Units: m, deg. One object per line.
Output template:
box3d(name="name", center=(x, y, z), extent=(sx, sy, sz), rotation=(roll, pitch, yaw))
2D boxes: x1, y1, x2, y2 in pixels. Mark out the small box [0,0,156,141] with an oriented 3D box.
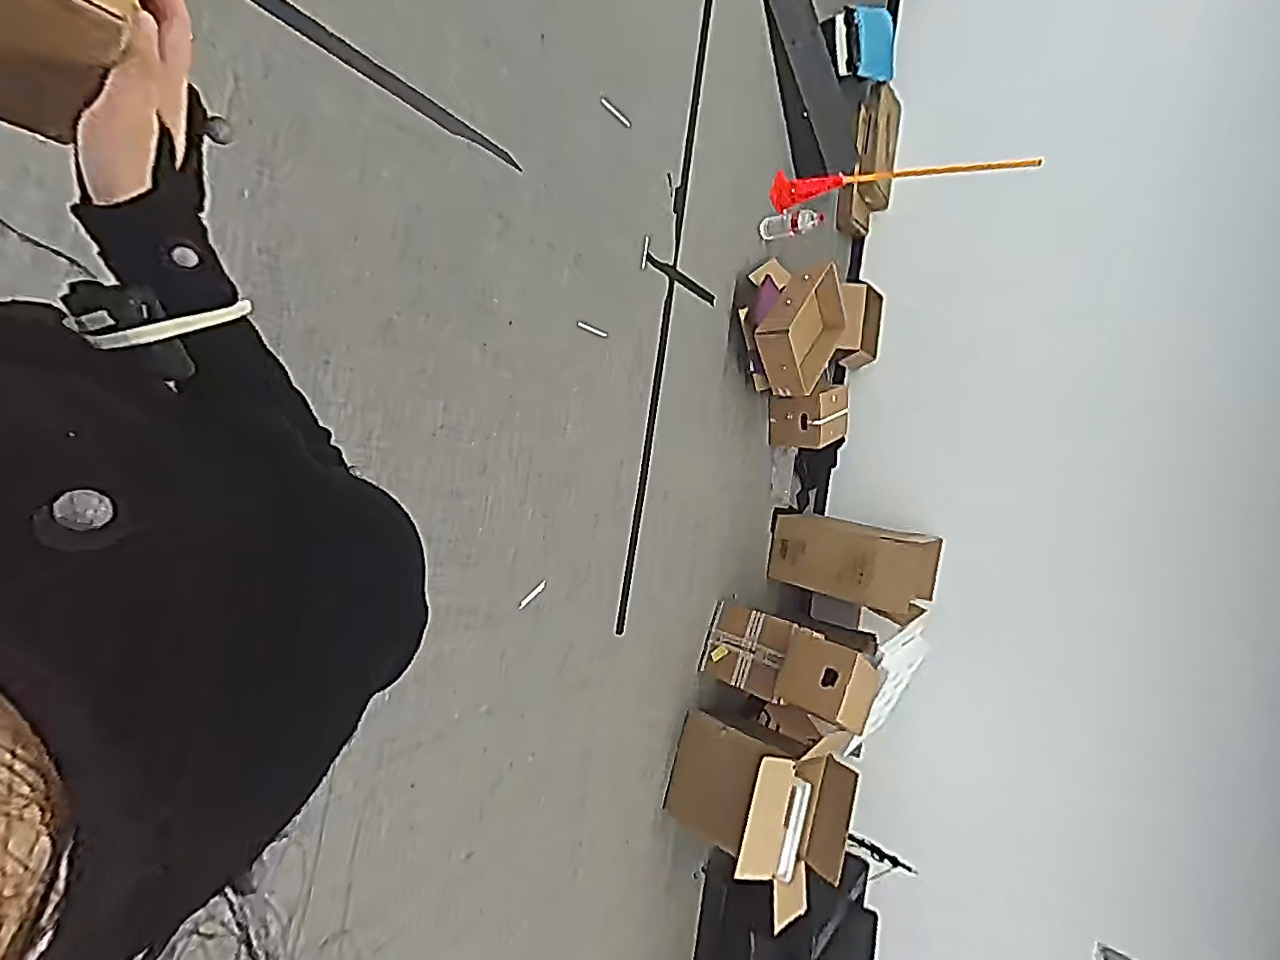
box3d(name="small box", center=(-0.339, -0.301, 0.241), extent=(0.168, 0.176, 0.179), rotation=(4, 89, -53))
